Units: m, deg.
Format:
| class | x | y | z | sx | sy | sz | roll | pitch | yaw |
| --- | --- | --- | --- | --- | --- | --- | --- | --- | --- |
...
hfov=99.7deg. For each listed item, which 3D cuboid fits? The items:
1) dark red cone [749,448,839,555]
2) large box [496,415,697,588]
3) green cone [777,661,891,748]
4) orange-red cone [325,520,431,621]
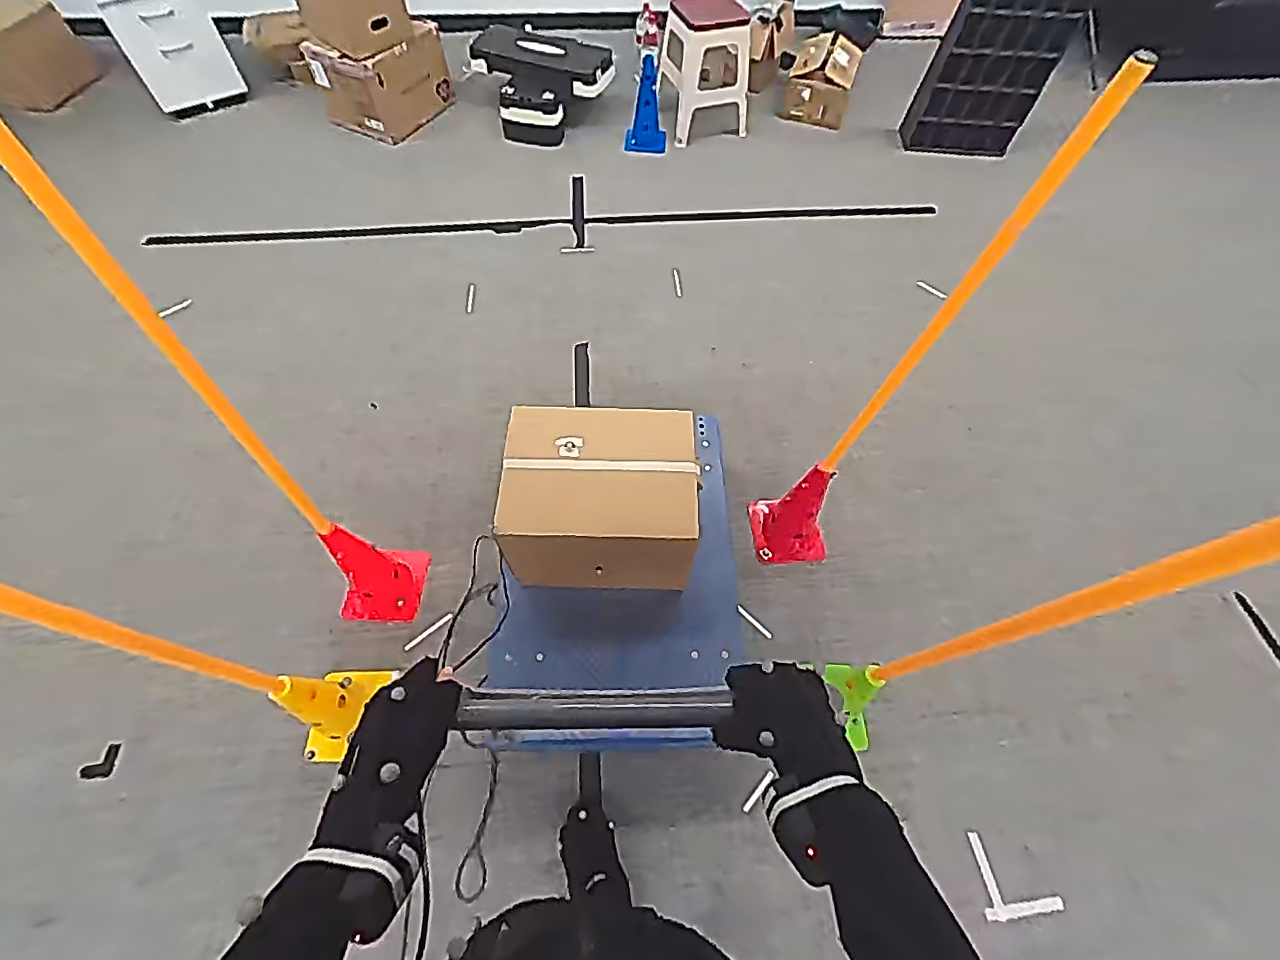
| class | x | y | z | sx | sy | sz | roll | pitch | yaw |
| --- | --- | --- | --- | --- | --- | --- | --- | --- | --- |
| dark red cone | 0.437 | 0.043 | 1.430 | 0.201 | 0.394 | 0.202 | -2 | 59 | -5 |
| large box | -0.086 | 0.061 | 1.263 | 0.408 | 0.320 | 0.320 | 1 | 60 | 0 |
| green cone | 0.455 | 0.468 | 1.196 | 0.202 | 0.368 | 0.200 | 1 | 59 | -2 |
| orange-red cone | -0.683 | 0.194 | 1.338 | 0.198 | 0.360 | 0.199 | 4 | 58 | 0 |
